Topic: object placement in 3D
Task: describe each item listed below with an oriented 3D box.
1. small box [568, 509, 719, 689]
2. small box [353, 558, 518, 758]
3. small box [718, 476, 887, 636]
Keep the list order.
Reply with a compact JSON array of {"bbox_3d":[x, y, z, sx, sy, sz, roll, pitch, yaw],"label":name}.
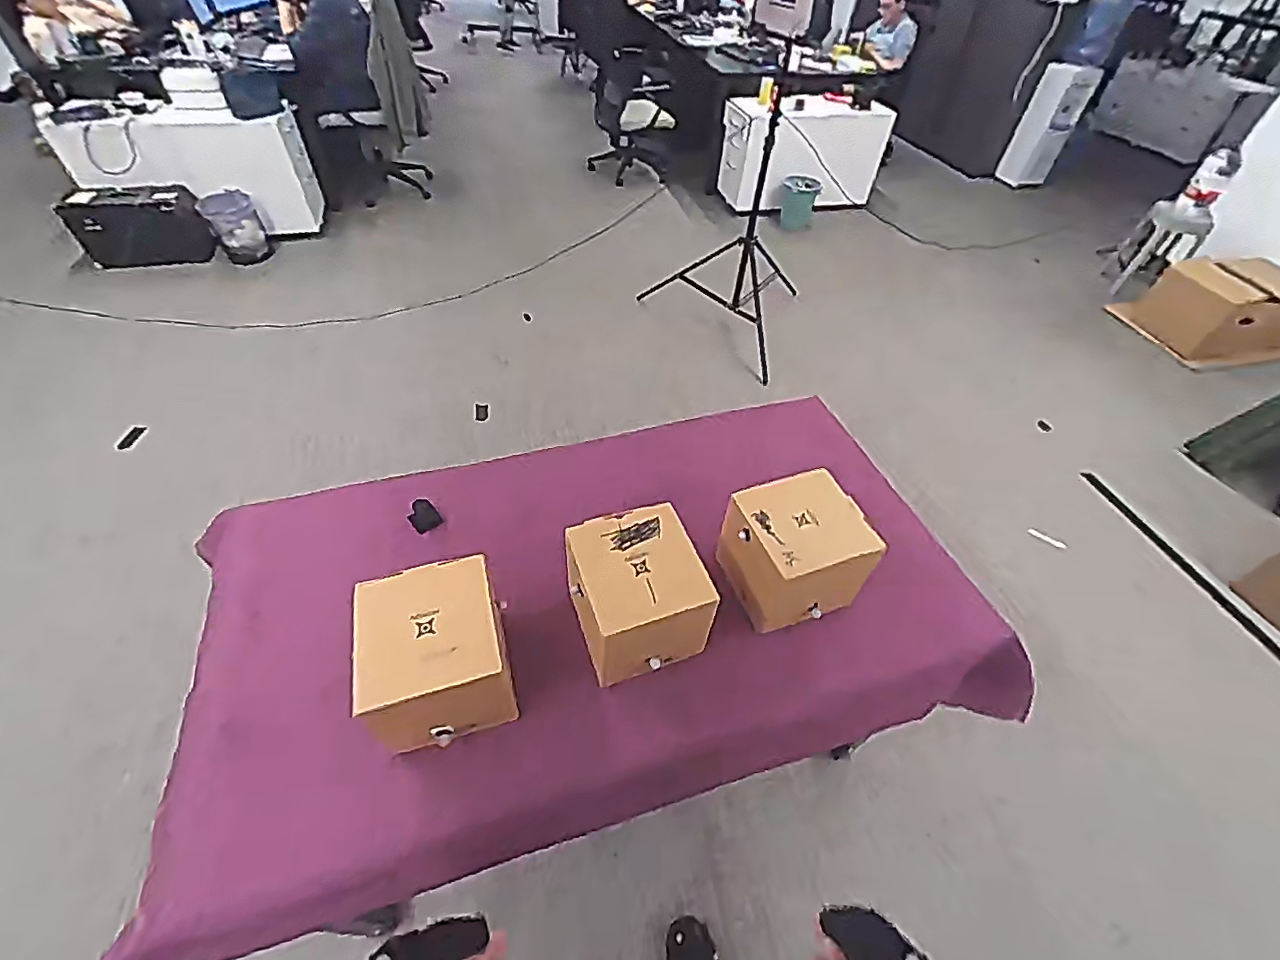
[{"bbox_3d":[-0.005,0.174,0.796,0.168,0.176,0.179,-14,50,-16],"label":"small box"},{"bbox_3d":[-0.266,0.237,0.721,0.168,0.176,0.179,-13,50,-14],"label":"small box"},{"bbox_3d":[0.245,0.122,0.863,0.179,0.176,0.168,-13,49,-16],"label":"small box"}]
